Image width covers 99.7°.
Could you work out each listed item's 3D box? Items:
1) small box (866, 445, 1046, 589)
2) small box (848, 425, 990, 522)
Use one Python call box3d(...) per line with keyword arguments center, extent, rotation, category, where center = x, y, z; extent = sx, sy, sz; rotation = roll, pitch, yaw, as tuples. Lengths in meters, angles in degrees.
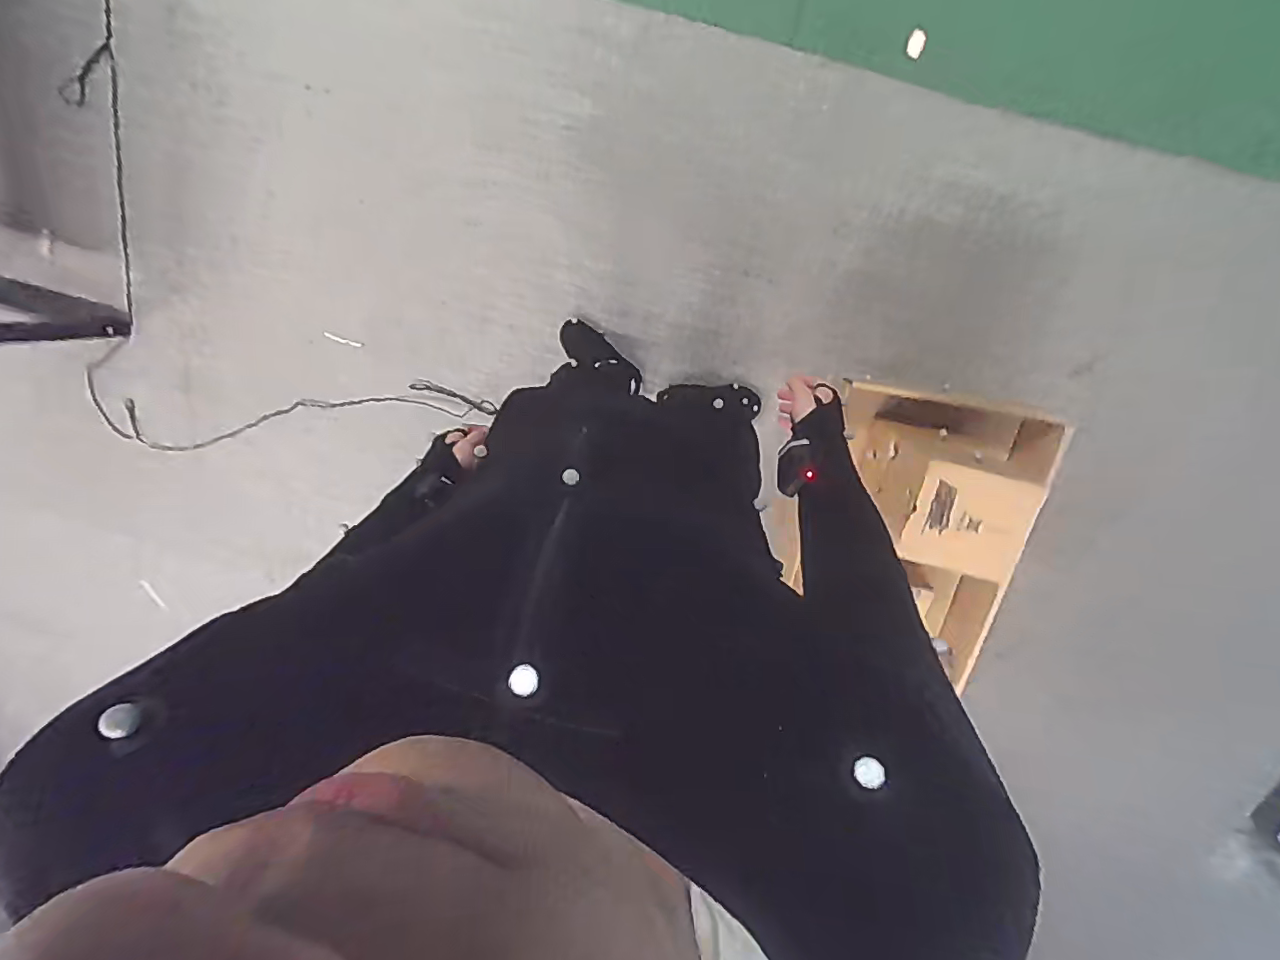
box3d(center=(0.502, 0.051, 0.894), extent=(0.179, 0.176, 0.168), rotation=(15, 110, 2), category="small box")
box3d(center=(0.523, -0.002, 1.048), extent=(0.179, 0.176, 0.168), rotation=(11, 109, 4), category="small box")
